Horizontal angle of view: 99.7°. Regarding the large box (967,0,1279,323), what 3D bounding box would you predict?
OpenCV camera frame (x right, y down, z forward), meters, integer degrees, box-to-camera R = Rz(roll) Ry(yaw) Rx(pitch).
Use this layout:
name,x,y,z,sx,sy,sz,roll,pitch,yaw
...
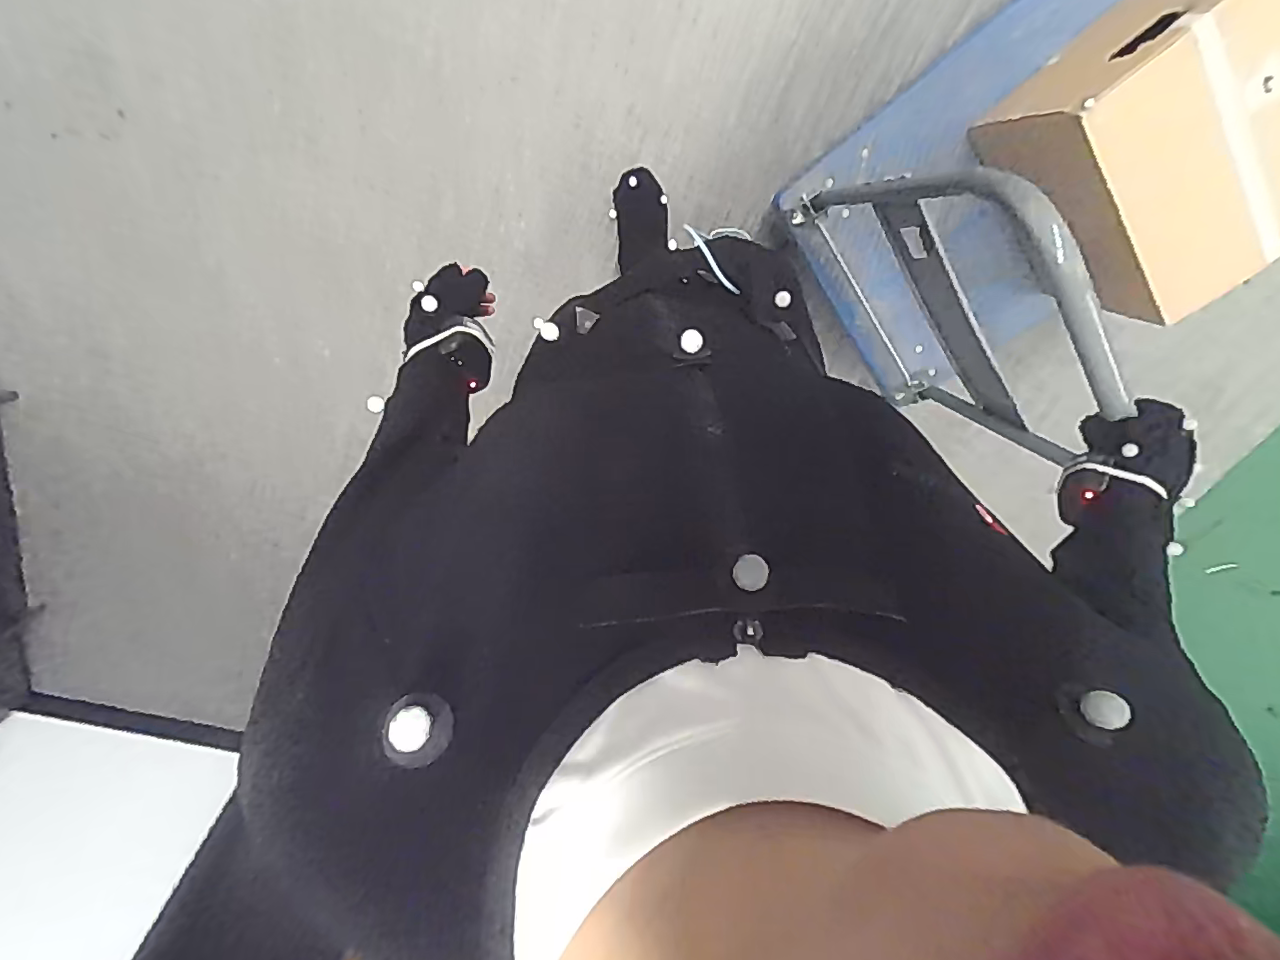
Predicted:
name,x,y,z,sx,sy,sz,roll,pitch,yaw
large box,0.860,-0.547,0.921,0.320,0.320,0.408,-38,111,18
